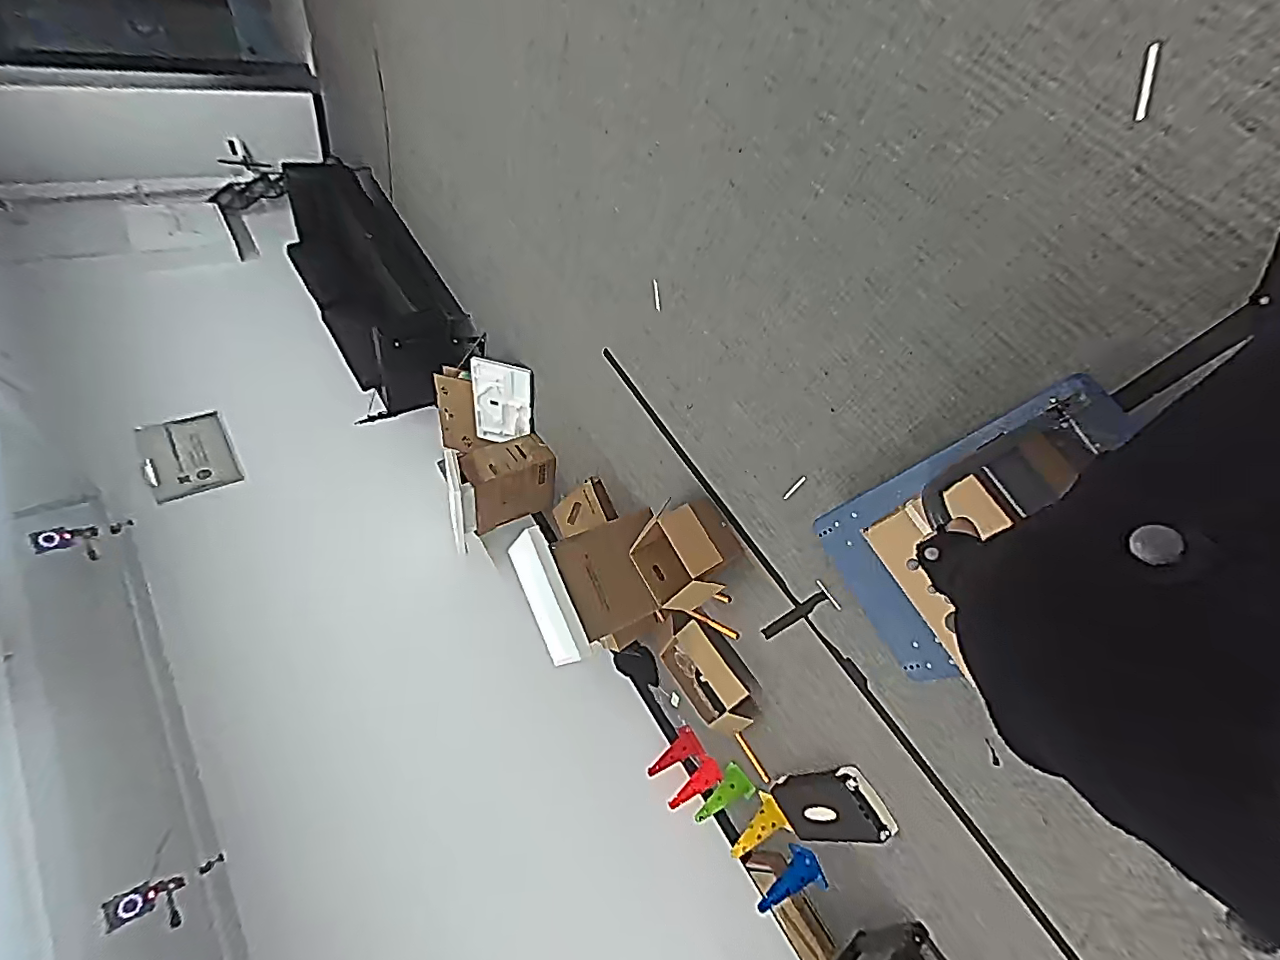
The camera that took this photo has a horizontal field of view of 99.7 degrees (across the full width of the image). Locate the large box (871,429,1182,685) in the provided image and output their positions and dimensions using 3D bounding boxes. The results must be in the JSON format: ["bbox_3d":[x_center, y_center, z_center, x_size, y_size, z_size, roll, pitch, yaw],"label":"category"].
[{"bbox_3d":[0.810,0.162,1.170,0.408,0.320,0.320,59,147,17],"label":"large box"}]
